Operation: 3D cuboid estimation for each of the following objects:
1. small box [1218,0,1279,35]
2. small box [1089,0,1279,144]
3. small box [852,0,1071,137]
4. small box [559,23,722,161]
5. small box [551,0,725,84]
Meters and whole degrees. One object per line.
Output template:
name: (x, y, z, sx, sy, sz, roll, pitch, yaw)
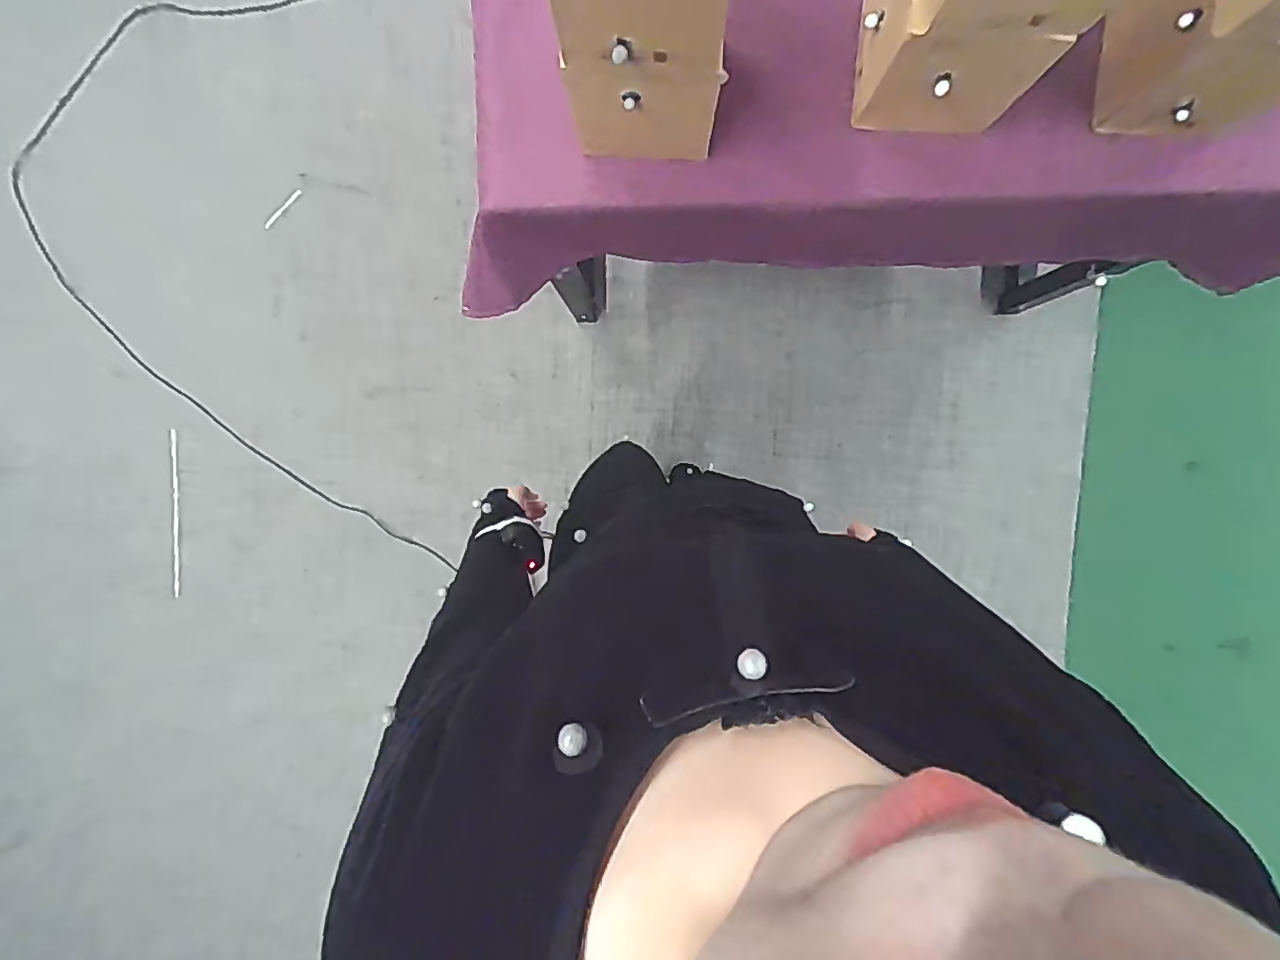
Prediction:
small box: (0.677, -0.530, 0.473, 0.168, 0.176, 0.179, 4, 93, 1)
small box: (0.681, -0.538, 0.638, 0.168, 0.176, 0.179, 5, 93, 2)
small box: (0.371, -0.543, 0.647, 0.179, 0.176, 0.168, 4, 93, 2)
small box: (0.005, -0.518, 0.661, 0.179, 0.176, 0.168, 3, 92, 1)
small box: (0.002, -0.515, 0.498, 0.168, 0.176, 0.179, 5, 93, 2)
